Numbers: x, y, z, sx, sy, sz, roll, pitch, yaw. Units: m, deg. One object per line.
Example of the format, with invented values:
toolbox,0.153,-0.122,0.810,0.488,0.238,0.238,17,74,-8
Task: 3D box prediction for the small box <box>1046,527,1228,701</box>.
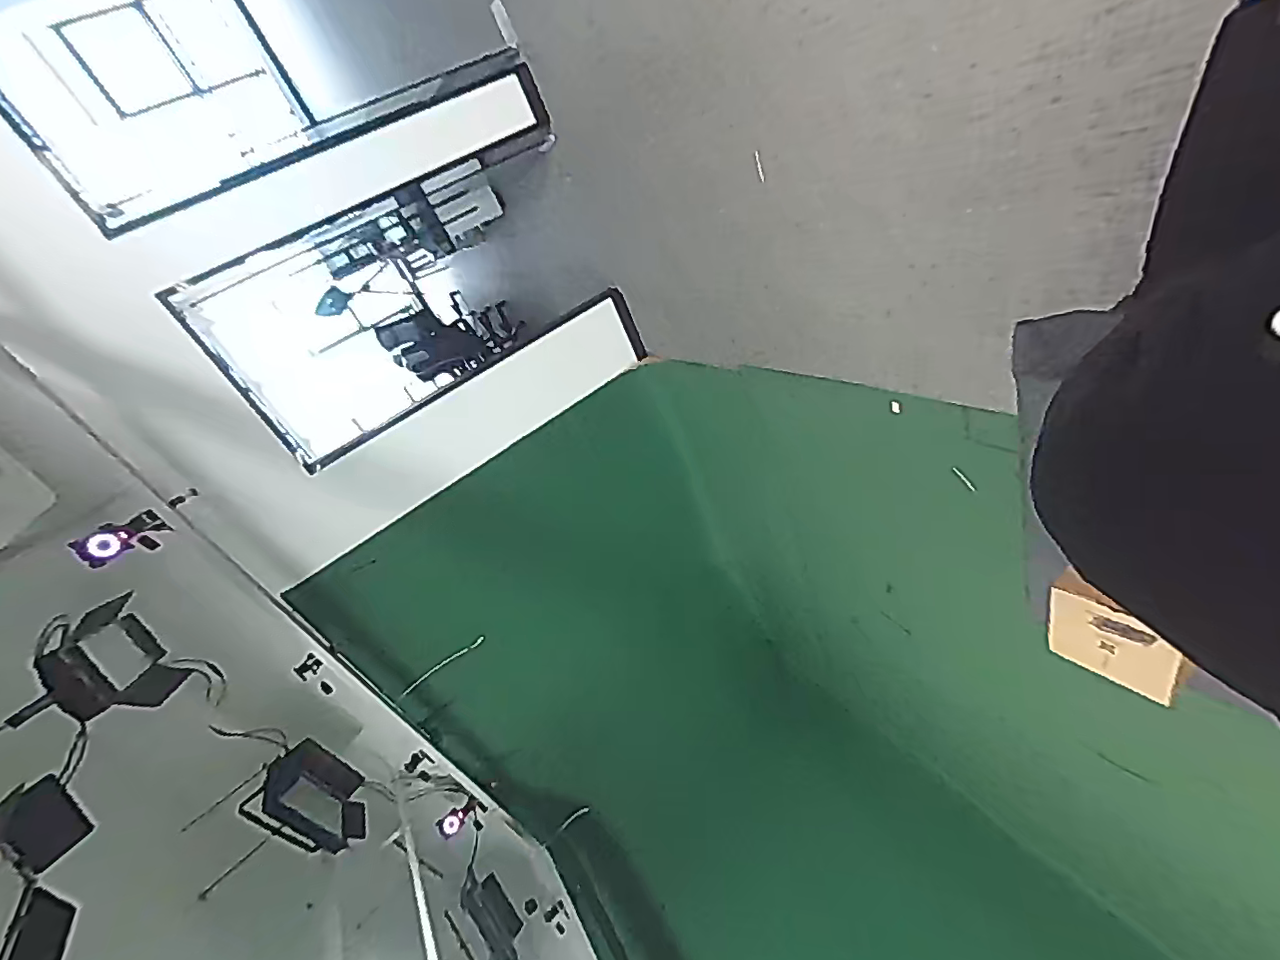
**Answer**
small box,0.795,0.206,0.874,0.168,0.176,0.179,29,151,53
